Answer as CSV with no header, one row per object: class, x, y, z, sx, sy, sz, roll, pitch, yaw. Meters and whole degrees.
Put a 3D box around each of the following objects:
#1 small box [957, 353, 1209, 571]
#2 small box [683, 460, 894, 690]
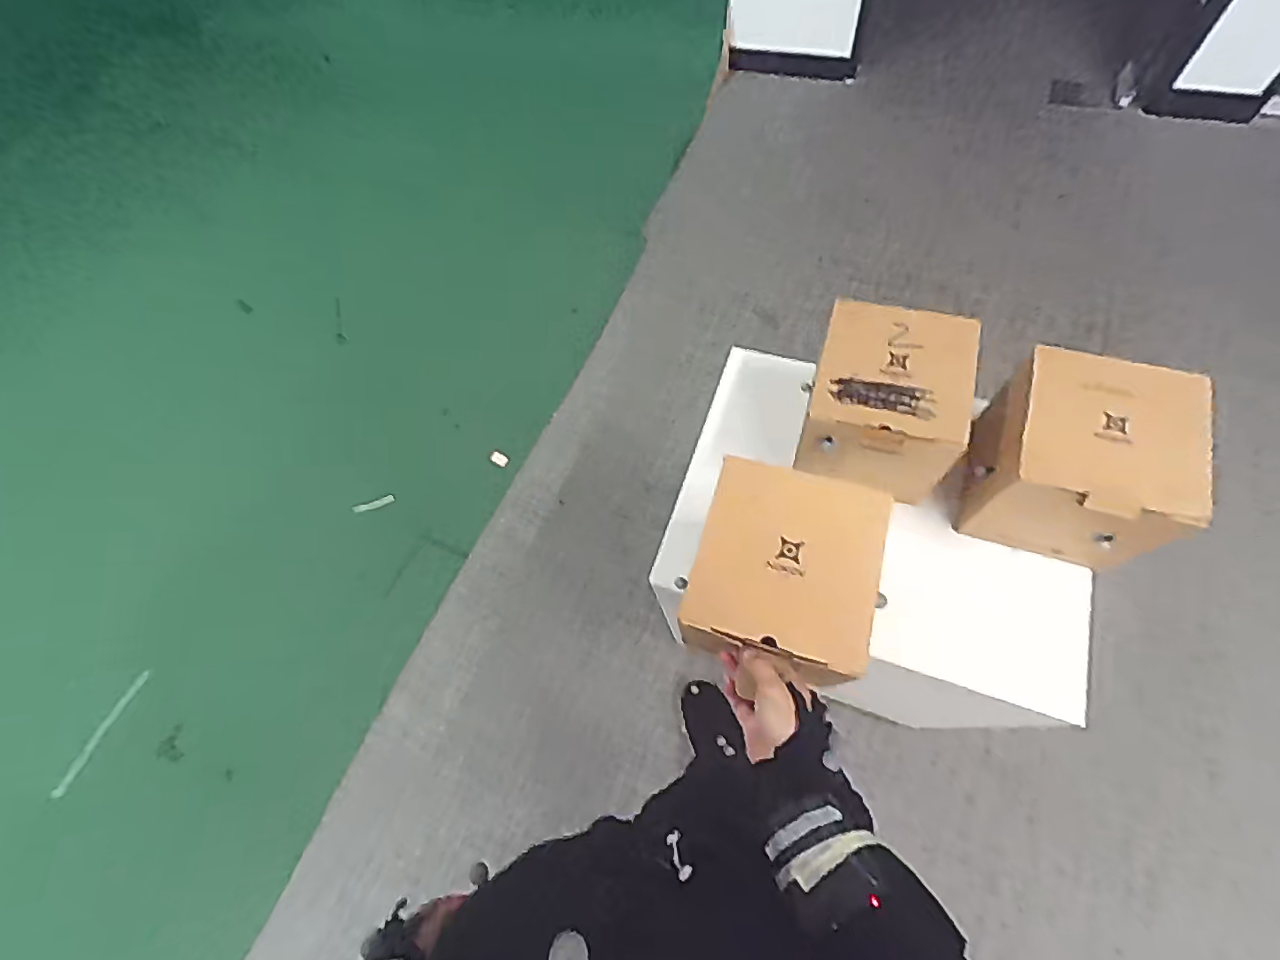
small box,0.490,-0.013,0.624,0.168,0.176,0.179,15,68,14
small box,0.147,0.107,0.571,0.168,0.176,0.179,14,69,13
